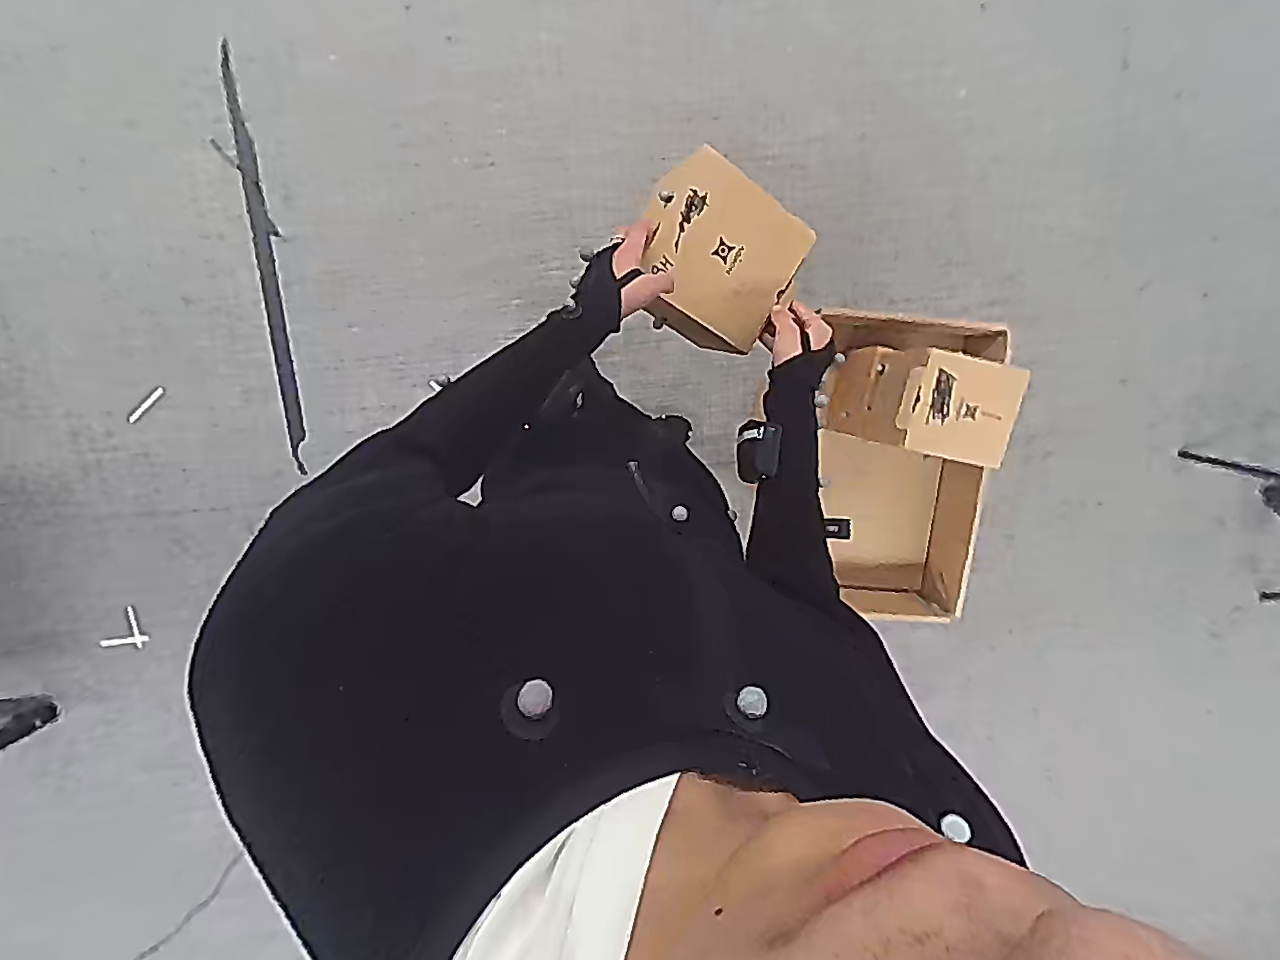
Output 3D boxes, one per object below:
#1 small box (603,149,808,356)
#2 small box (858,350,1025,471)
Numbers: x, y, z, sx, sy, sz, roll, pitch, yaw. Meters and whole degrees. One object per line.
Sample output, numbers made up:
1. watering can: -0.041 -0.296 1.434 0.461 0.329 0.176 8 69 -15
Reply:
1. small box: 0.074 -0.283 0.705 0.179 0.176 0.168 27 98 -21
2. small box: 0.513 -0.122 0.950 0.179 0.176 0.168 12 100 -5
